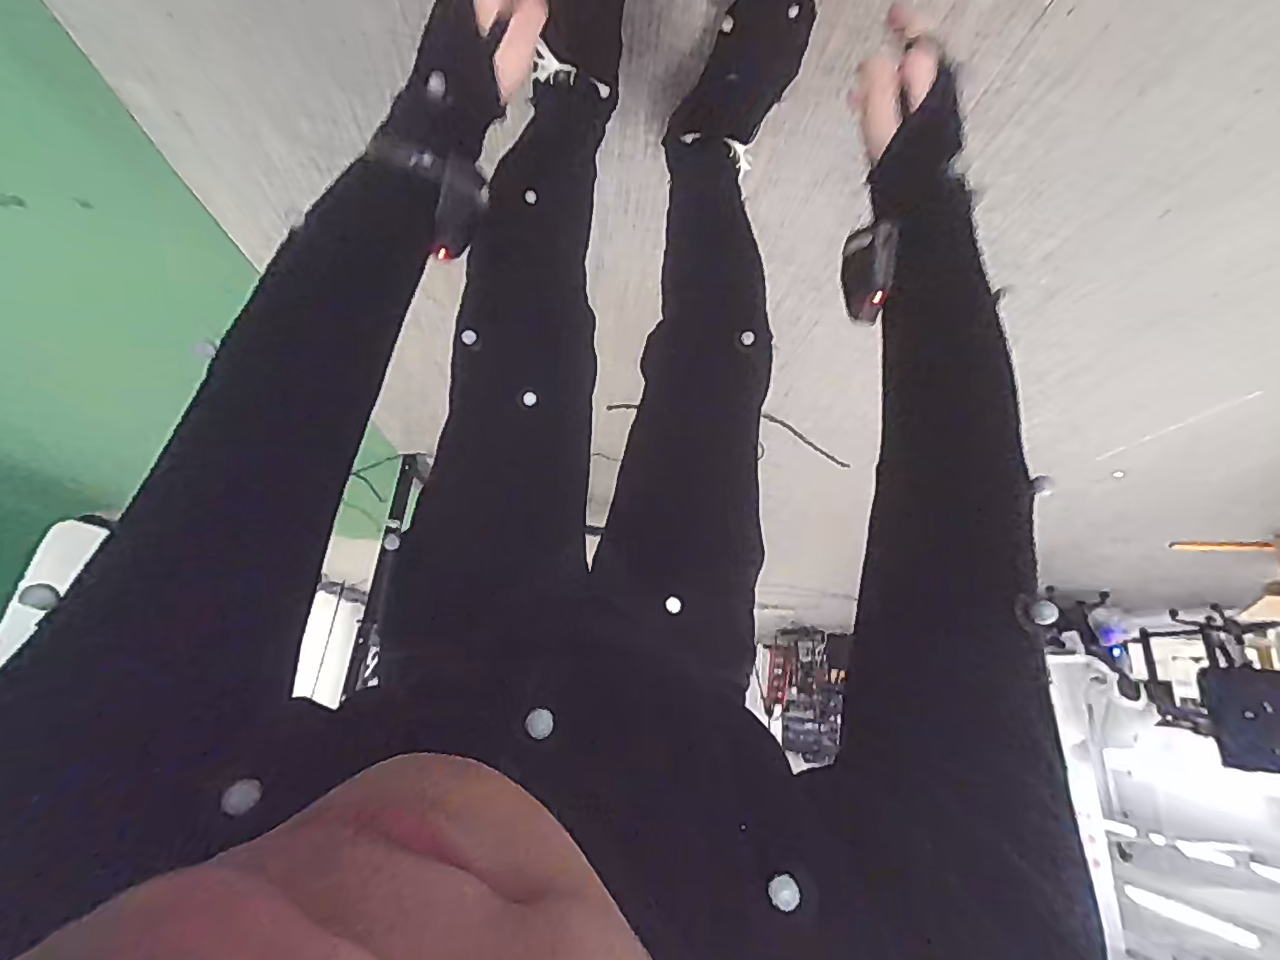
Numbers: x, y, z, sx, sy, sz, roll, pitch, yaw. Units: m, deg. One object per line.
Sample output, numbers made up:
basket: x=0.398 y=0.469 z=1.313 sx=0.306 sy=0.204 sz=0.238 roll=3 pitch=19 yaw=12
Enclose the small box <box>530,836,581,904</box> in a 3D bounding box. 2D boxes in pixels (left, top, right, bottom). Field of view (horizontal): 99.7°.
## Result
small box: x=-0.317 y=1.479 z=2.065 sx=0.168 sy=0.176 sz=0.179 roll=7 pitch=161 yaw=-3
